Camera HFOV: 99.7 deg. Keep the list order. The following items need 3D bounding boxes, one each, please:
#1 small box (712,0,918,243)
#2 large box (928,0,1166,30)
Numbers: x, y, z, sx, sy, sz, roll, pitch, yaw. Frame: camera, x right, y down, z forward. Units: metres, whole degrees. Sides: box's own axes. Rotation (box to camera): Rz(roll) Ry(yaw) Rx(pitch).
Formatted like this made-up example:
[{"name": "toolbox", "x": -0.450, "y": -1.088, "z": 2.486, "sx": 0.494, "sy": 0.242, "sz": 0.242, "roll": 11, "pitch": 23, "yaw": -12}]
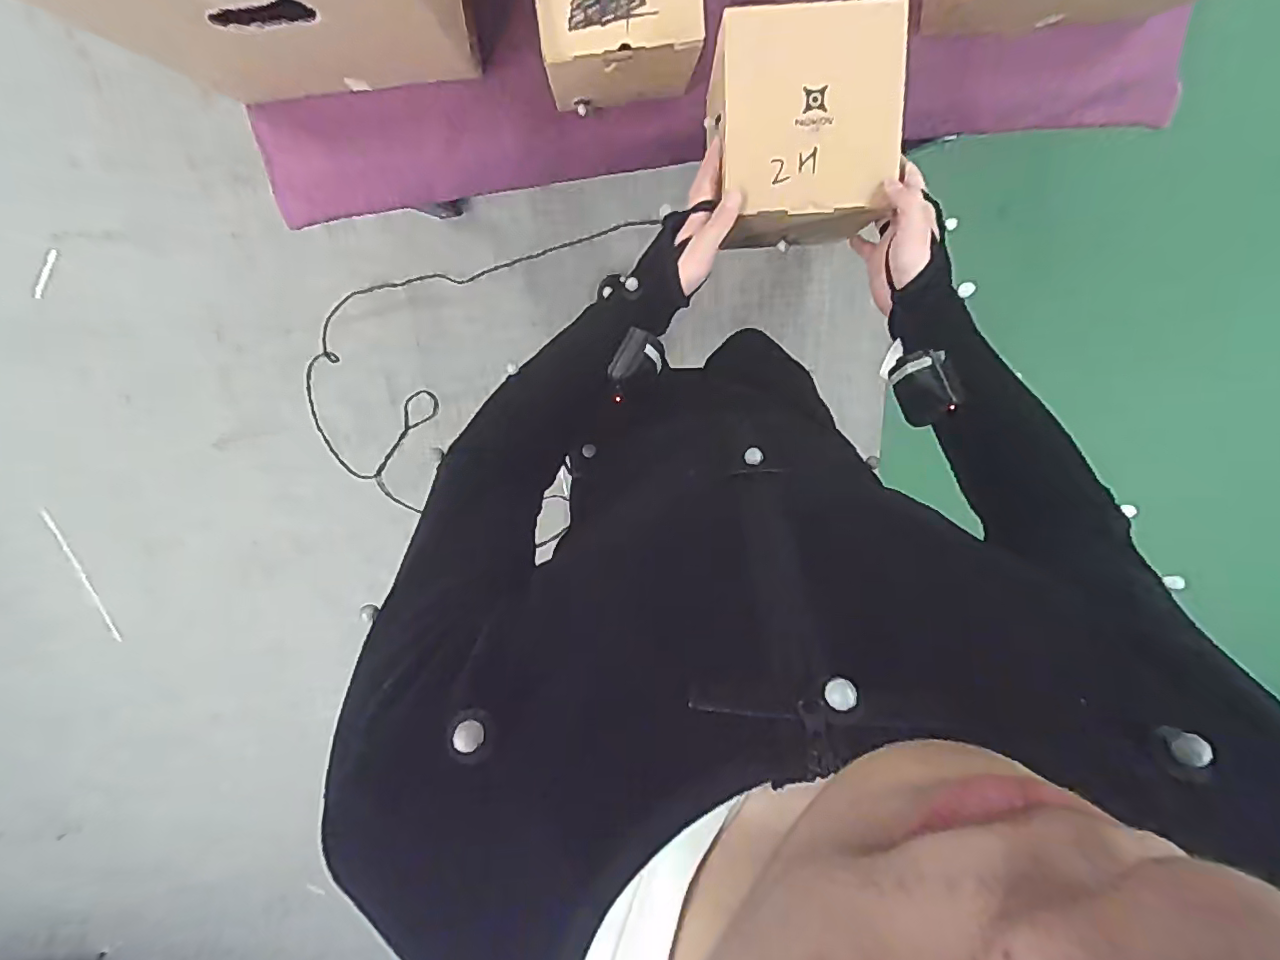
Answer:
[{"name": "small box", "x": 0.167, "y": -0.364, "z": 0.572, "sx": 0.168, "sy": 0.176, "sz": 0.179, "roll": -1, "pitch": 102, "yaw": 1}, {"name": "large box", "x": 0.500, "y": -0.717, "z": 0.482, "sx": 0.320, "sy": 0.320, "sz": 0.408, "roll": -6, "pitch": 112, "yaw": -1}]
